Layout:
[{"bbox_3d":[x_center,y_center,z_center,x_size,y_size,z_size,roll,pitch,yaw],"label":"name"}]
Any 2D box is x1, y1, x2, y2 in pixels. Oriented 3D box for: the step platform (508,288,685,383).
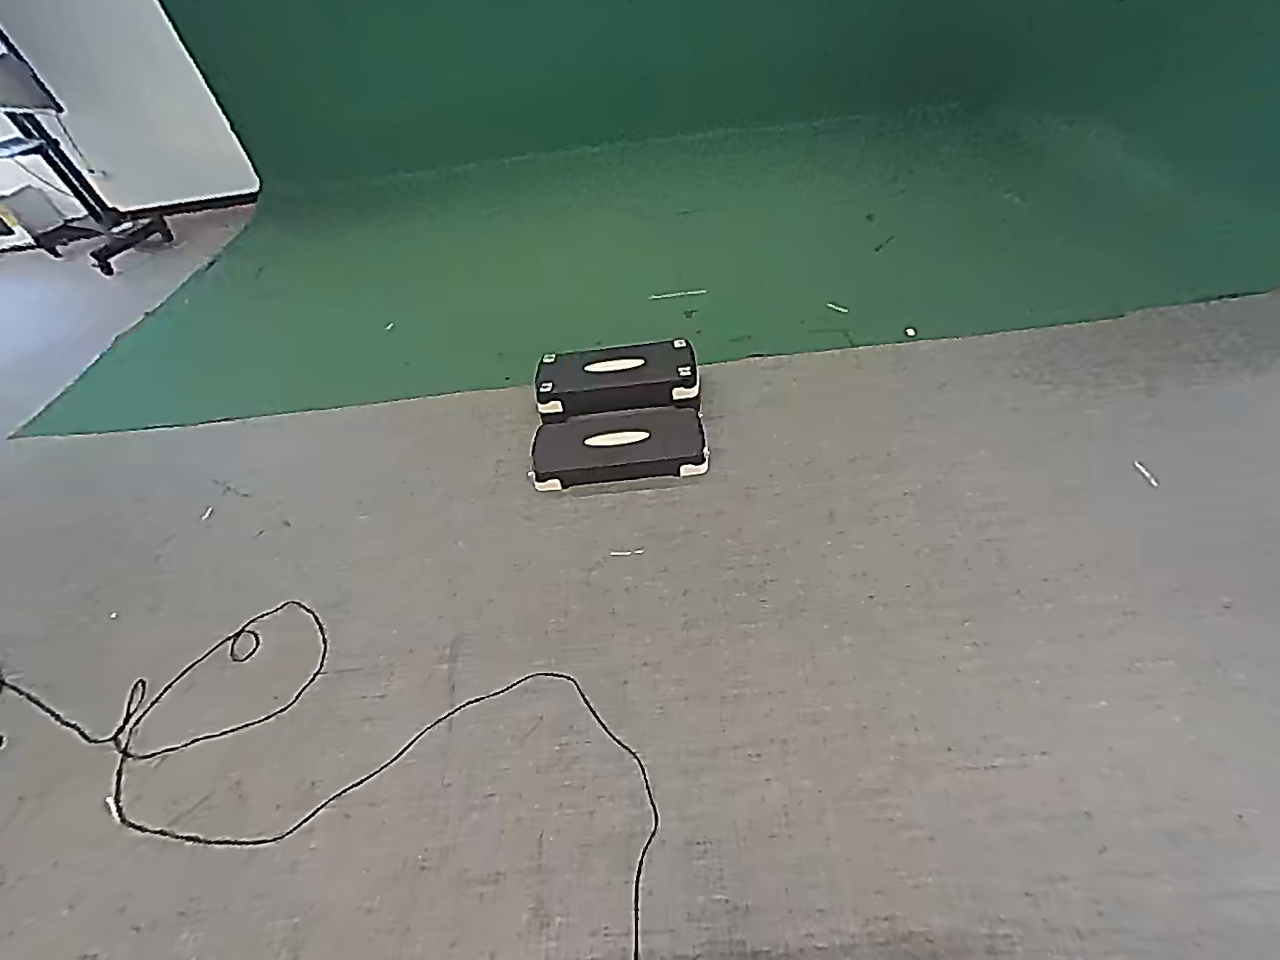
[{"bbox_3d":[-0.162,-0.574,2.154,0.684,0.204,0.286,-7,48,3],"label":"step platform"}]
